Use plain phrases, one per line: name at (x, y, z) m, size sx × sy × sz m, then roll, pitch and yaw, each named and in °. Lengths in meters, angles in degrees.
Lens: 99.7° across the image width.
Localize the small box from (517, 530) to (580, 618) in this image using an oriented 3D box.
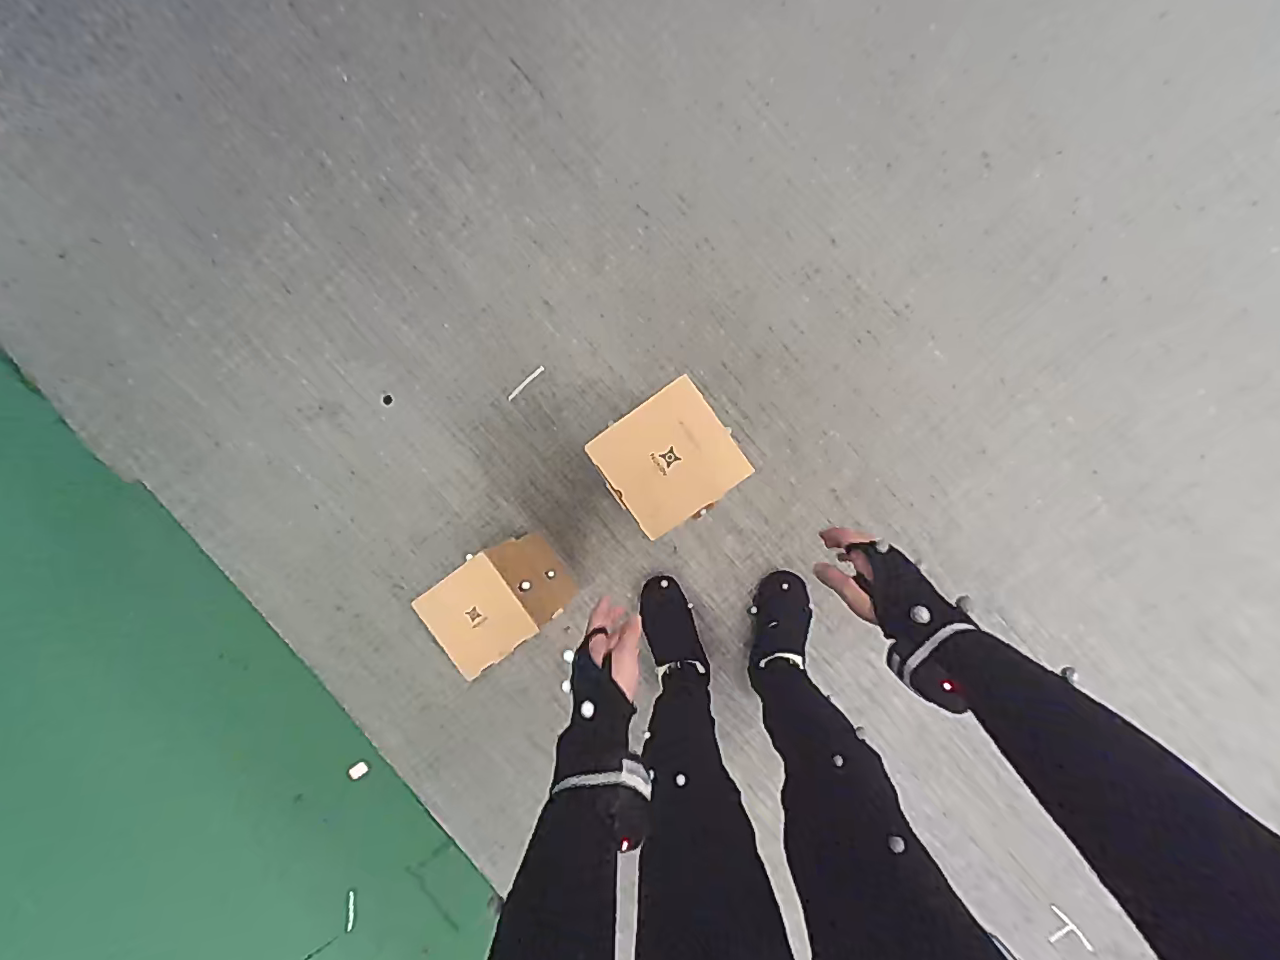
small box at (-0.256, 0.233, 1.205) m, size 0.168 × 0.176 × 0.179 m, roll -37°, pitch 90°, yaw 6°

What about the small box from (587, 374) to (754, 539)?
small box at (0.048, -0.035, 0.815) m, size 0.179 × 0.176 × 0.168 m, roll -35°, pitch 91°, yaw 6°

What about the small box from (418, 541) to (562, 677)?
small box at (-0.274, 0.231, 1.027) m, size 0.168 × 0.176 × 0.179 m, roll -36°, pitch 91°, yaw 6°
